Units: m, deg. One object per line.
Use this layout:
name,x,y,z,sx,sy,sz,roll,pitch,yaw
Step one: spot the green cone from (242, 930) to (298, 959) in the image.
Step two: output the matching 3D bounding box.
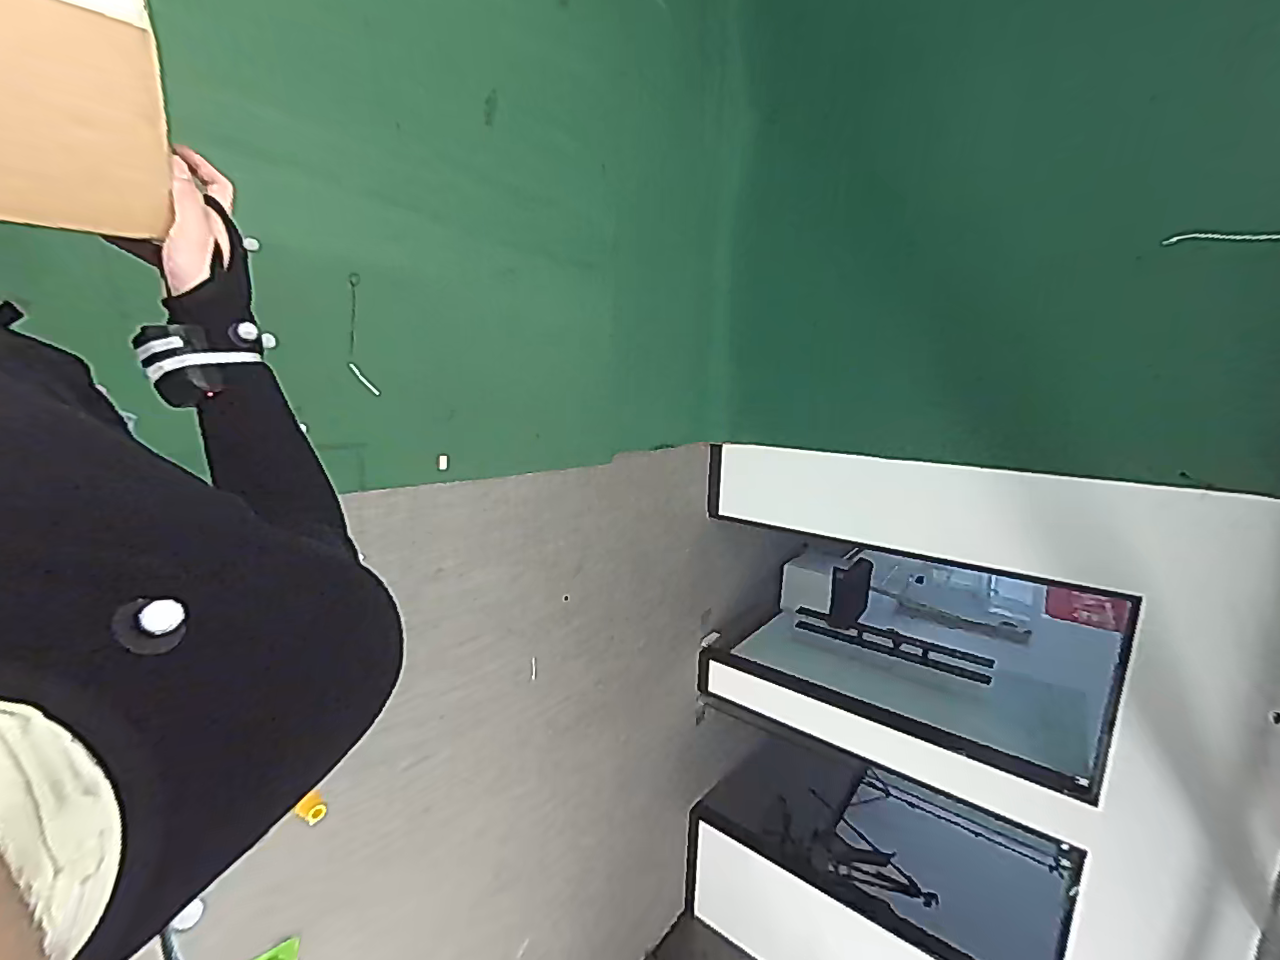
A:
green cone,-1.016,1.531,1.538,0.200,0.368,0.202,-1,97,-53
